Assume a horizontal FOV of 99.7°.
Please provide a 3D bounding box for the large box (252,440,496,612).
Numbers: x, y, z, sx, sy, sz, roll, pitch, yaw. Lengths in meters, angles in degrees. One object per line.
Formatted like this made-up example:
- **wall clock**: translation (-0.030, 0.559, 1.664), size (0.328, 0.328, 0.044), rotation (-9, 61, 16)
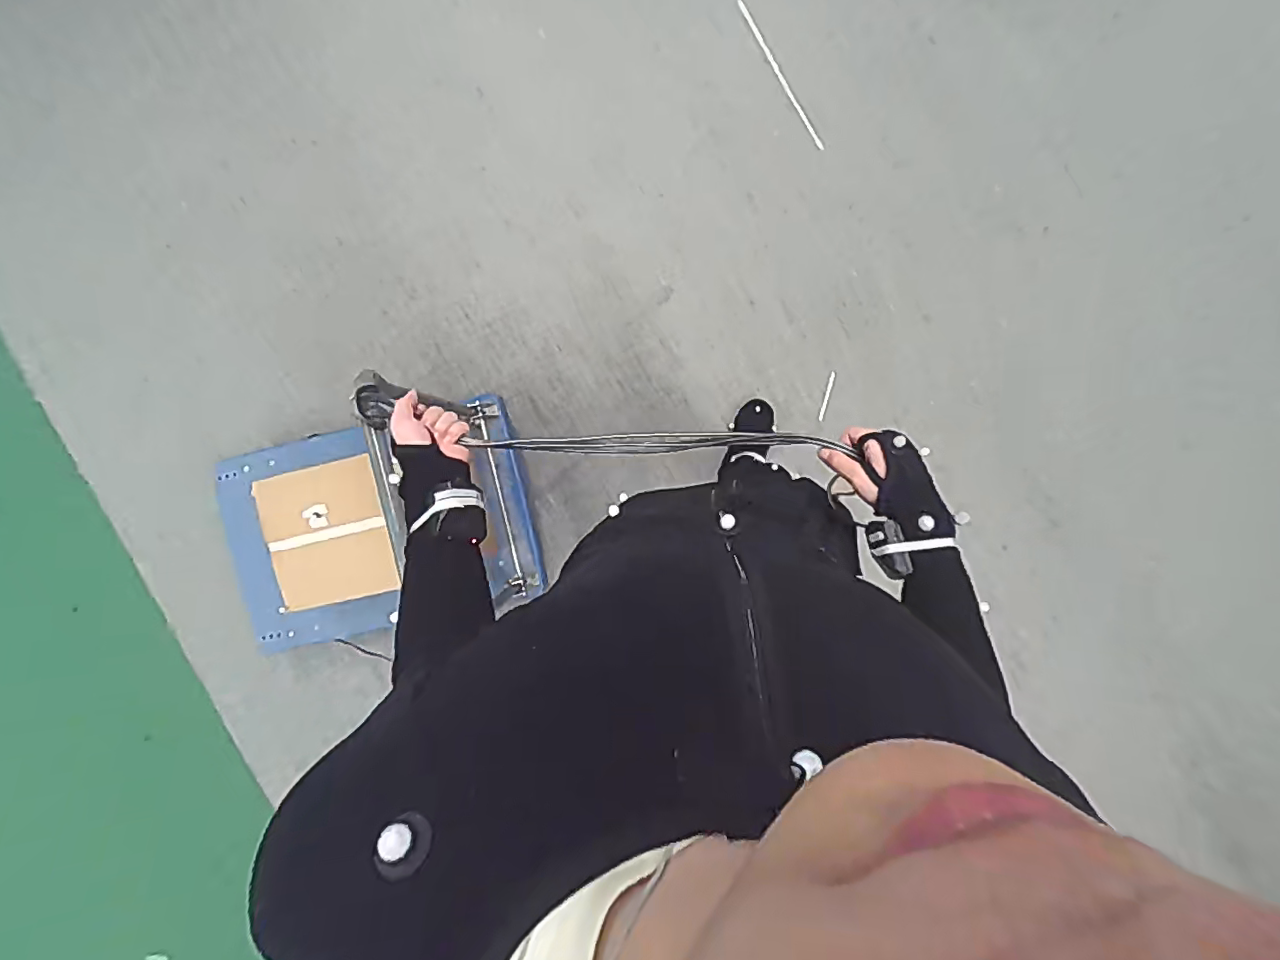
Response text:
- **large box**: translation (-0.629, 0.096, 1.343), size (0.408, 0.320, 0.320), rotation (-13, 92, 6)
